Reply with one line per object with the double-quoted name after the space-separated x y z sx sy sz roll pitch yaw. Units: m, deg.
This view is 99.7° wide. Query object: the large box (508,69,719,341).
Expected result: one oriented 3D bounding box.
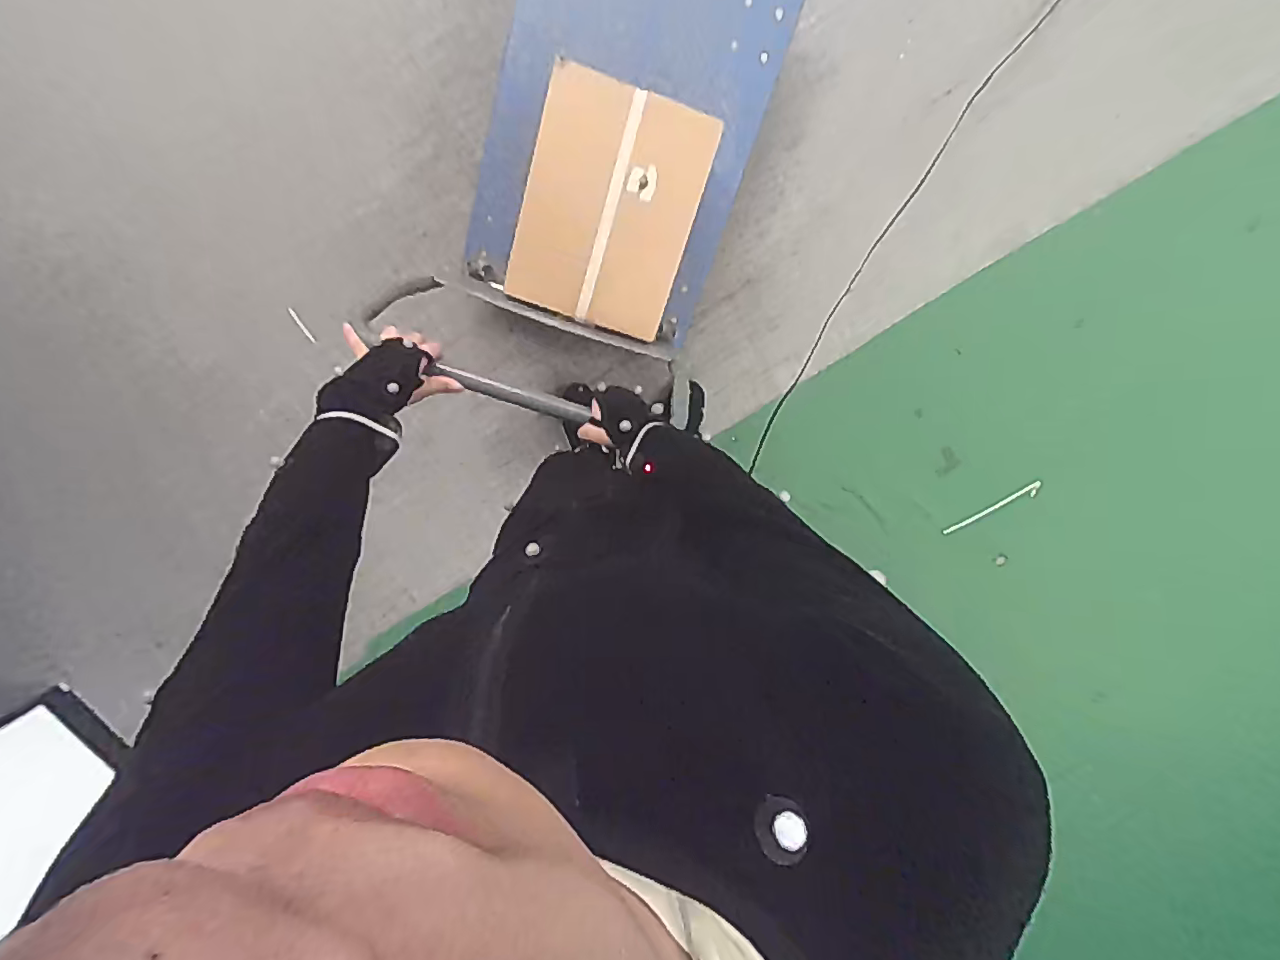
-0.060 -0.550 1.168 0.320 0.320 0.408 18 108 -7 "large box"
